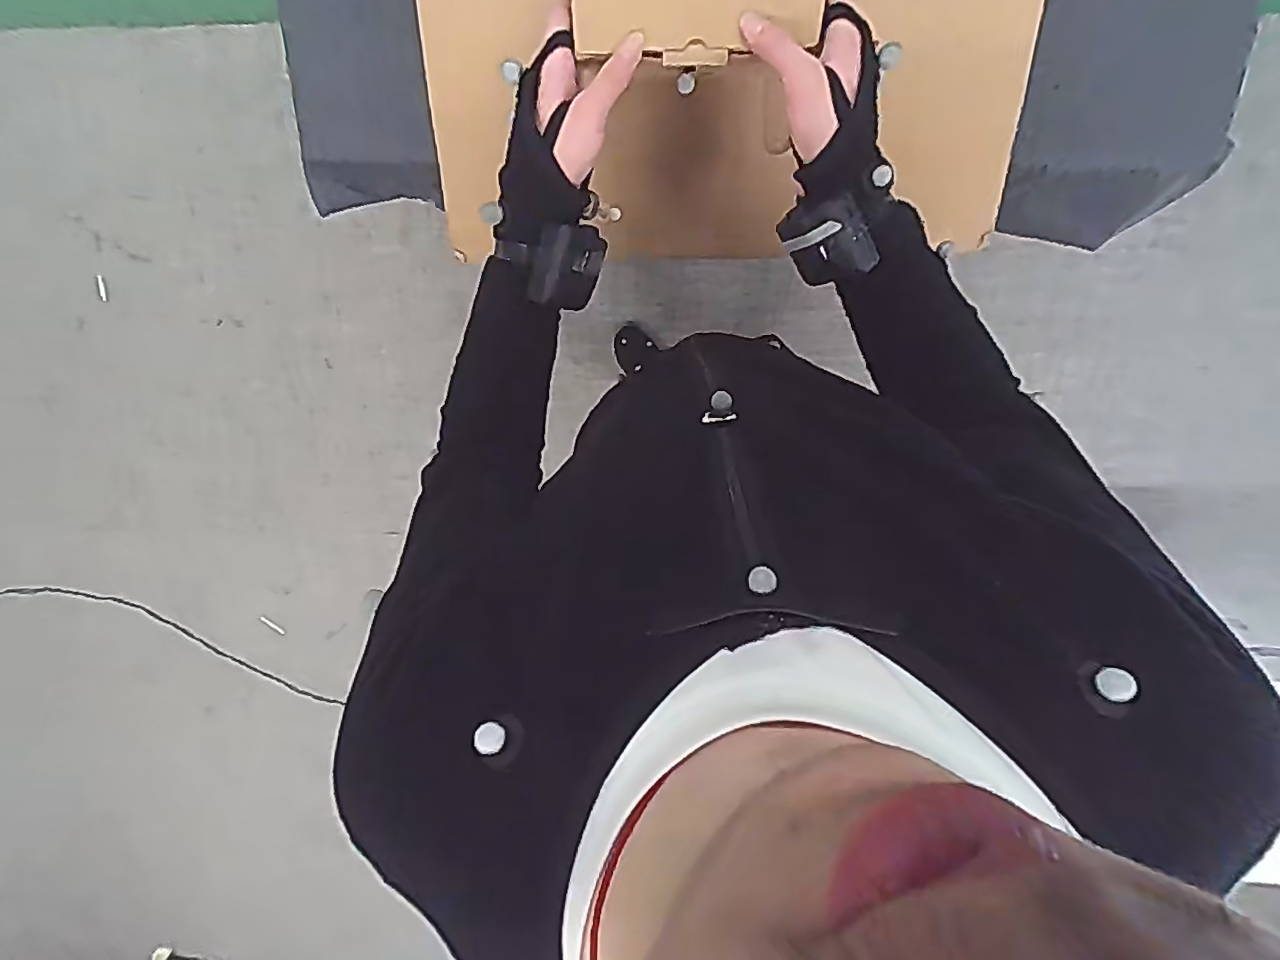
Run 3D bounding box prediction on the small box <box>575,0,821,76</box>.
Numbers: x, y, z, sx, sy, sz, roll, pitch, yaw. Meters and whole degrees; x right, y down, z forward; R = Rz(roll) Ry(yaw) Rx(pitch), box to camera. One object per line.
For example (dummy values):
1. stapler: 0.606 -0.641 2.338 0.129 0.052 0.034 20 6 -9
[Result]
1. small box: 0.038 -0.409 0.394 0.168 0.176 0.179 -2 122 3
